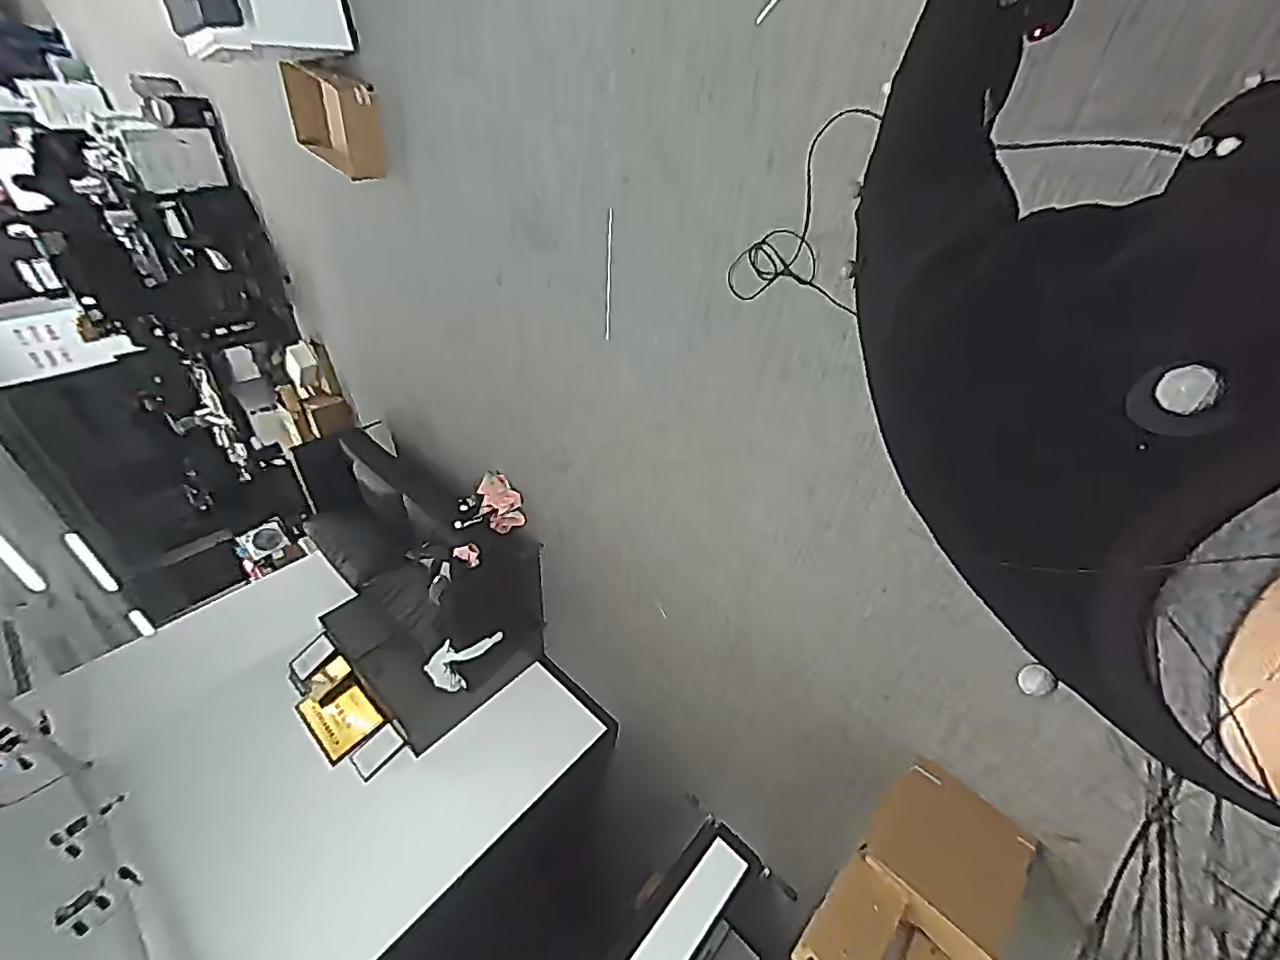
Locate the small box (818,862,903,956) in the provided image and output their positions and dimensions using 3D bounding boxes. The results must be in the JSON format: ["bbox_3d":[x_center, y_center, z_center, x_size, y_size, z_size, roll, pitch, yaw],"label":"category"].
[{"bbox_3d":[0.706,1.382,1.732,0.179,0.176,0.168,35,134,27],"label":"small box"}]

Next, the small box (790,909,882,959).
[{"bbox_3d":[0.591,1.446,1.635,0.179,0.176,0.168,36,137,27],"label":"small box"}]
